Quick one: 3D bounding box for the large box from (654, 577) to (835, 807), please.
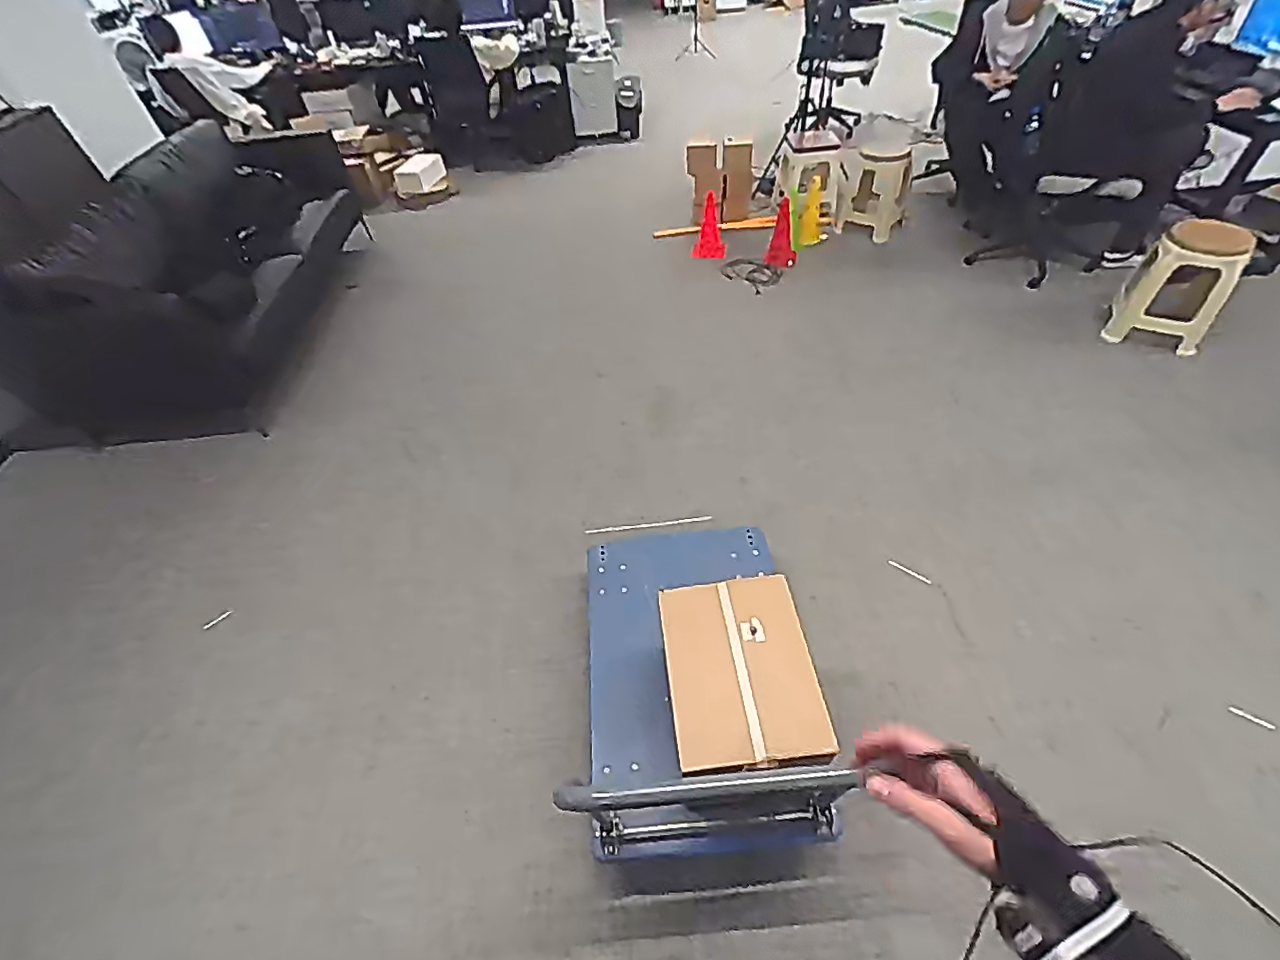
[{"bbox_3d":[0.221,0.500,1.283,0.320,0.320,0.408,-7,48,-1],"label":"large box"}]
